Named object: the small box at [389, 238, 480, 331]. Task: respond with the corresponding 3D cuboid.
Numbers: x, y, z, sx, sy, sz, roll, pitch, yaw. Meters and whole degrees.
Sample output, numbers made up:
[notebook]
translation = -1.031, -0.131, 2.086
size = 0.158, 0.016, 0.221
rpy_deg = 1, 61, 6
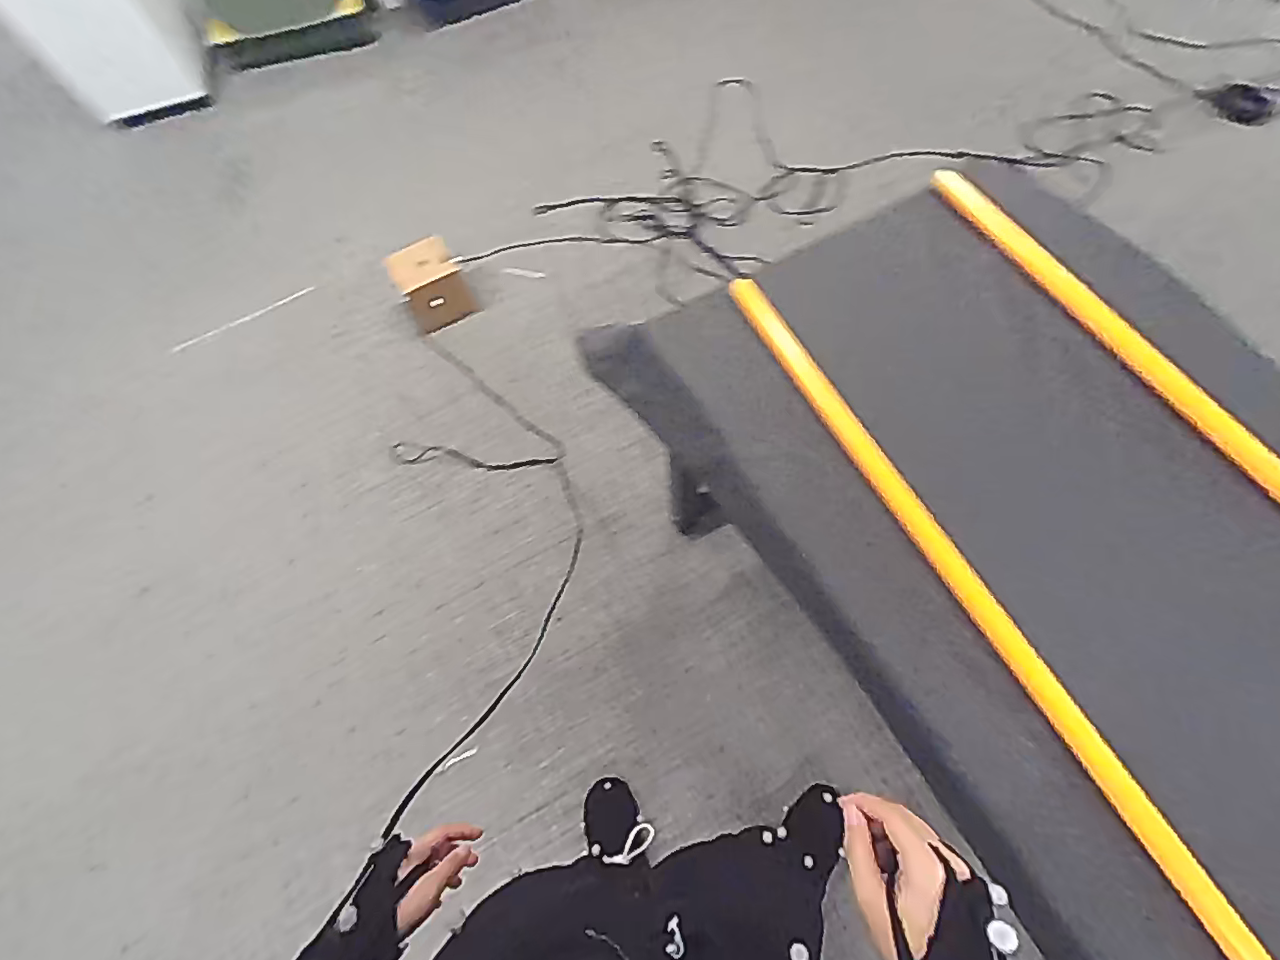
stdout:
[small box]
translation = -0.615, -0.583, 1.632
size = 0.179, 0.176, 0.168
rpy_deg = -30, 68, -10
